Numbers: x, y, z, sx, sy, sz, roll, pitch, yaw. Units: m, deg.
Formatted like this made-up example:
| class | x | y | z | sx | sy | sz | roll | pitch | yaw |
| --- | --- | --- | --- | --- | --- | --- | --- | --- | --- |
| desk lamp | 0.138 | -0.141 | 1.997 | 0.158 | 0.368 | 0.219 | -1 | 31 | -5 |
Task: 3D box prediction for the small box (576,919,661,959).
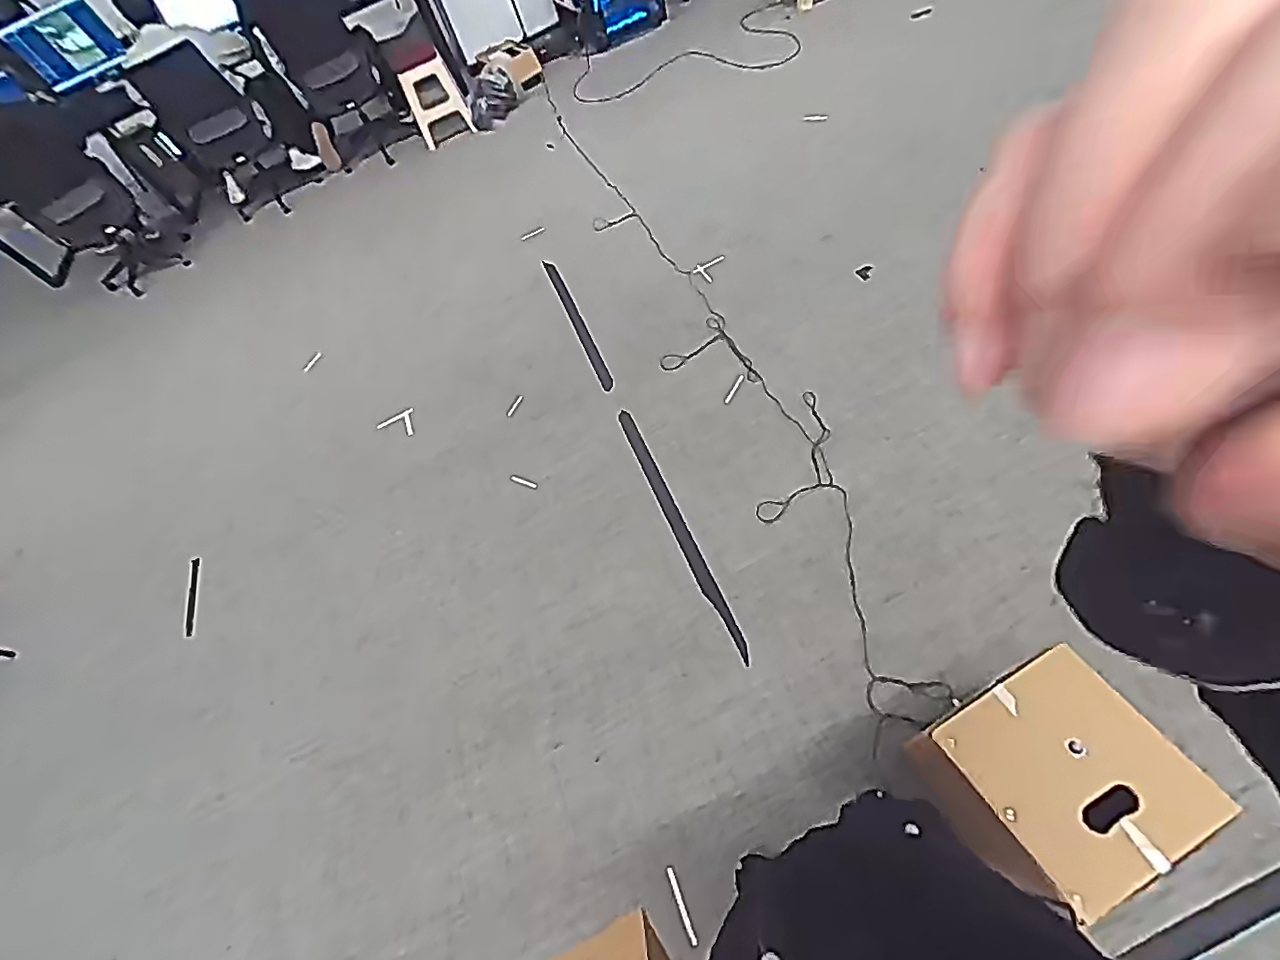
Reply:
| class | x | y | z | sx | sy | sz | roll | pitch | yaw |
| --- | --- | --- | --- | --- | --- | --- | --- | --- | --- |
| small box | -0.021 | 0.736 | 0.686 | 0.168 | 0.179 | 0.176 | -28 | 88 | -6 |
